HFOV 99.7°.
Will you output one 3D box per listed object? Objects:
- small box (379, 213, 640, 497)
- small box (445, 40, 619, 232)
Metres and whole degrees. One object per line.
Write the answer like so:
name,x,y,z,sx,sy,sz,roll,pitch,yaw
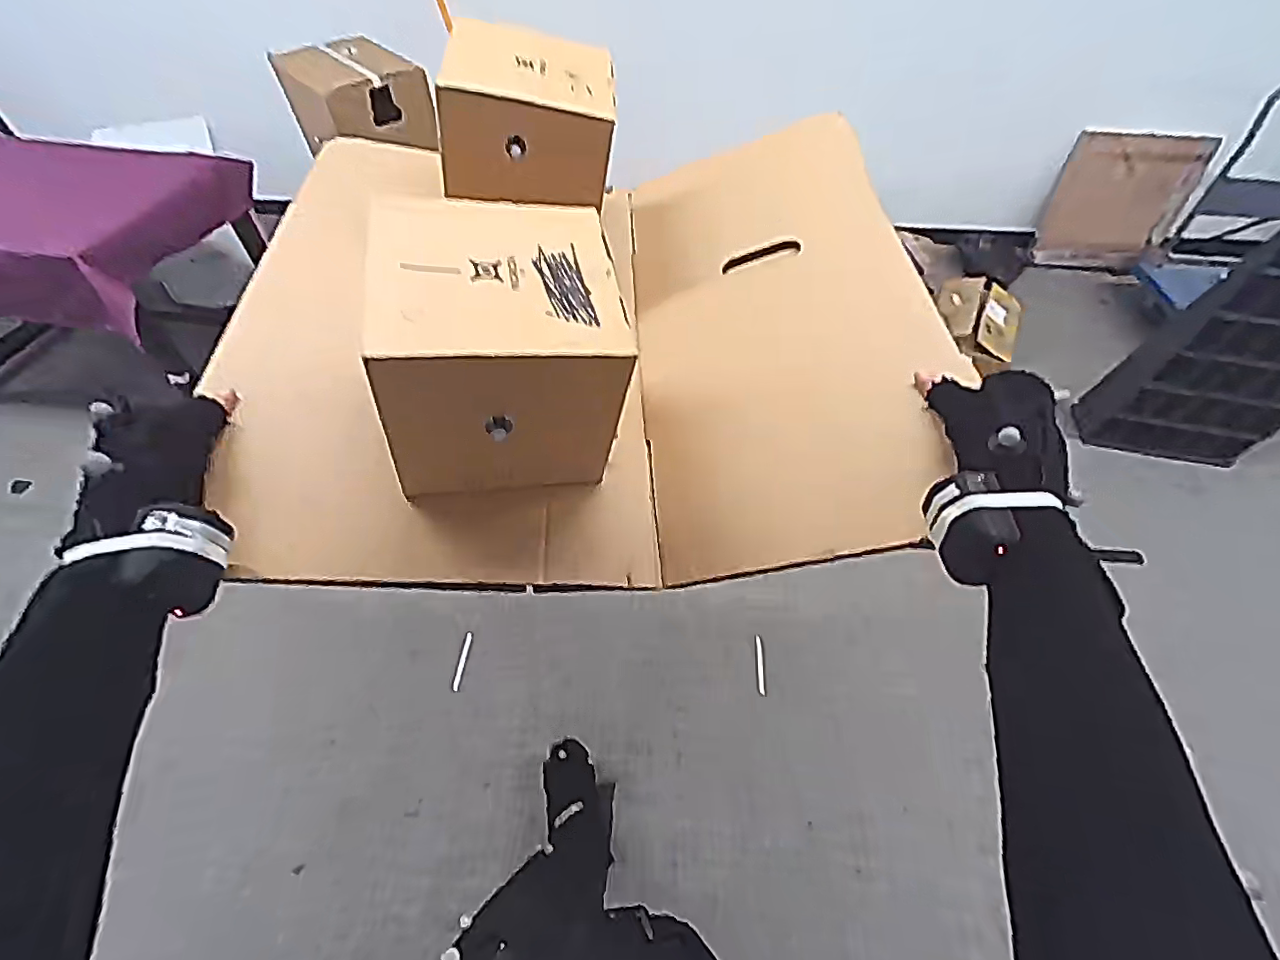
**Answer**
small box,-0.114,-0.099,0.469,0.179,0.176,0.168,-4,59,-16
small box,-0.125,-0.379,0.648,0.179,0.176,0.168,5,57,-12
